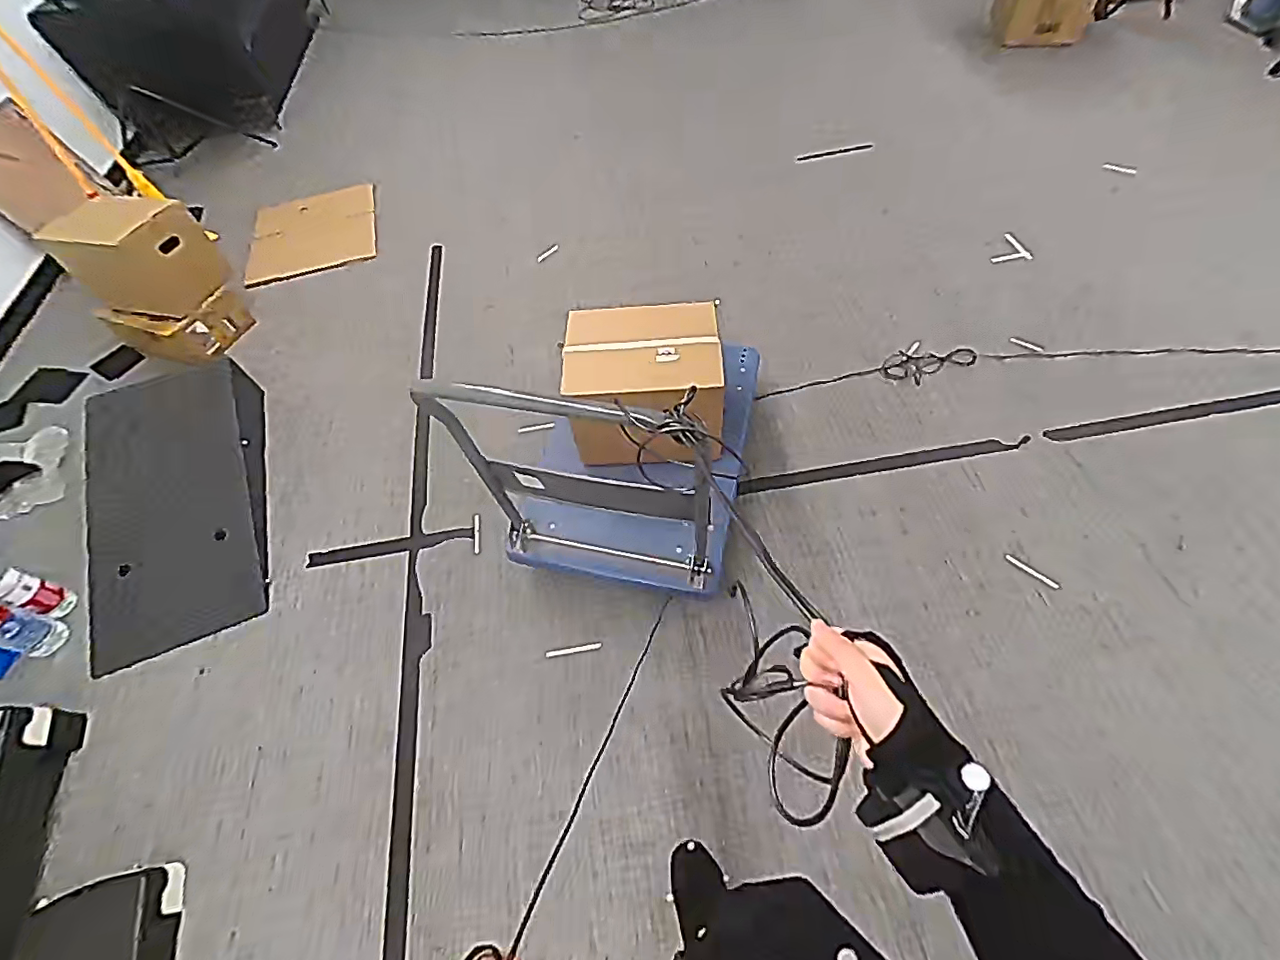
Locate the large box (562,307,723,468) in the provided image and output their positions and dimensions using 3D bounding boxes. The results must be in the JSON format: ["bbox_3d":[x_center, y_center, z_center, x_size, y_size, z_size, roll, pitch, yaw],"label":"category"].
[{"bbox_3d":[0.011,-0.251,1.517,0.408,0.320,0.320,-2,57,3],"label":"large box"}]
